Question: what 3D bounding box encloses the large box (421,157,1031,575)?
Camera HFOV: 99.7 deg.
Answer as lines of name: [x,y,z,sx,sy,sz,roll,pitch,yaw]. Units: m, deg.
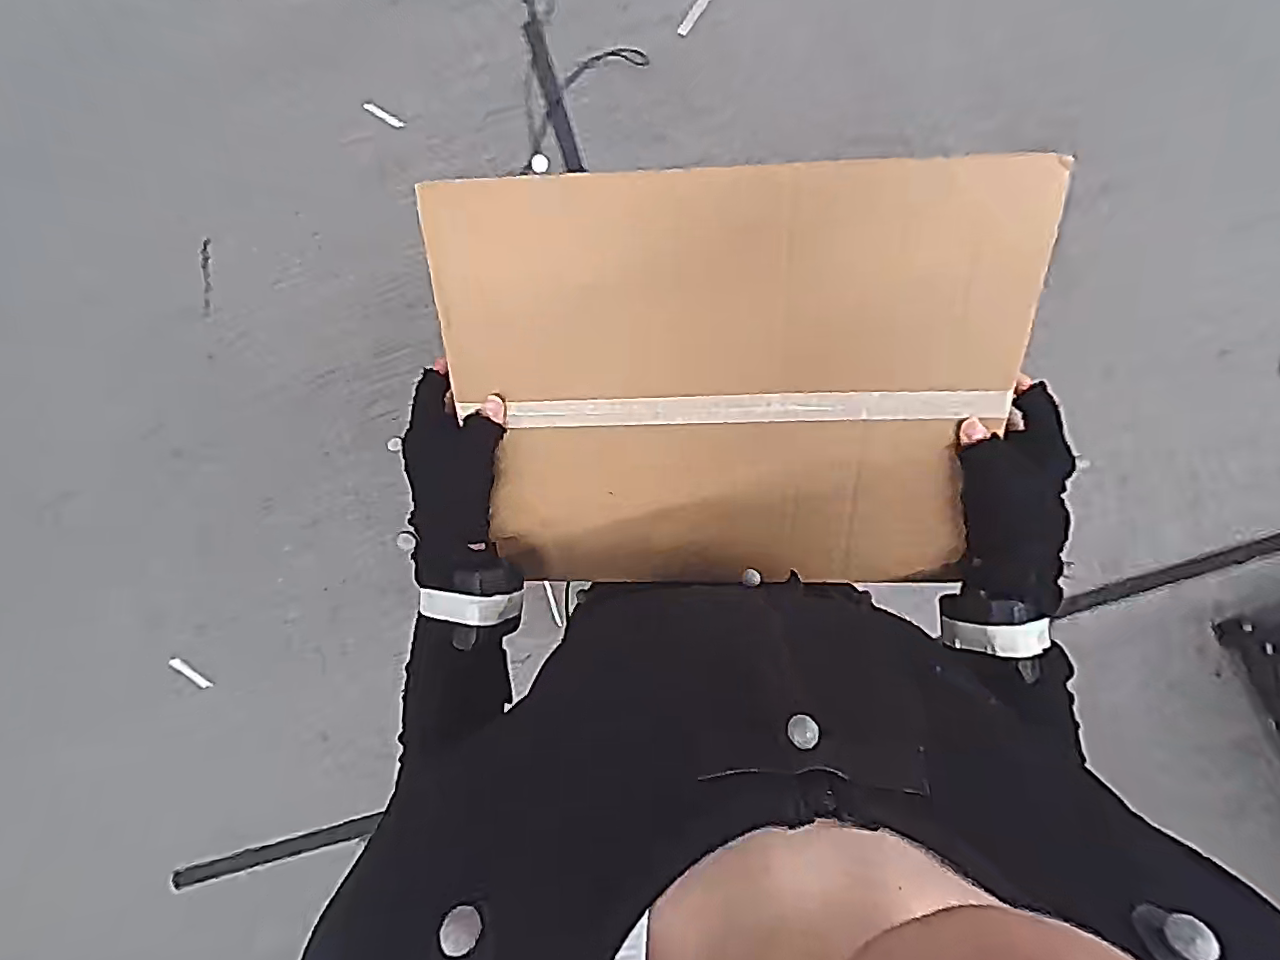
large box: [0.062,-0.121,0.547,0.408,0.320,0.320,-1,117,4]
